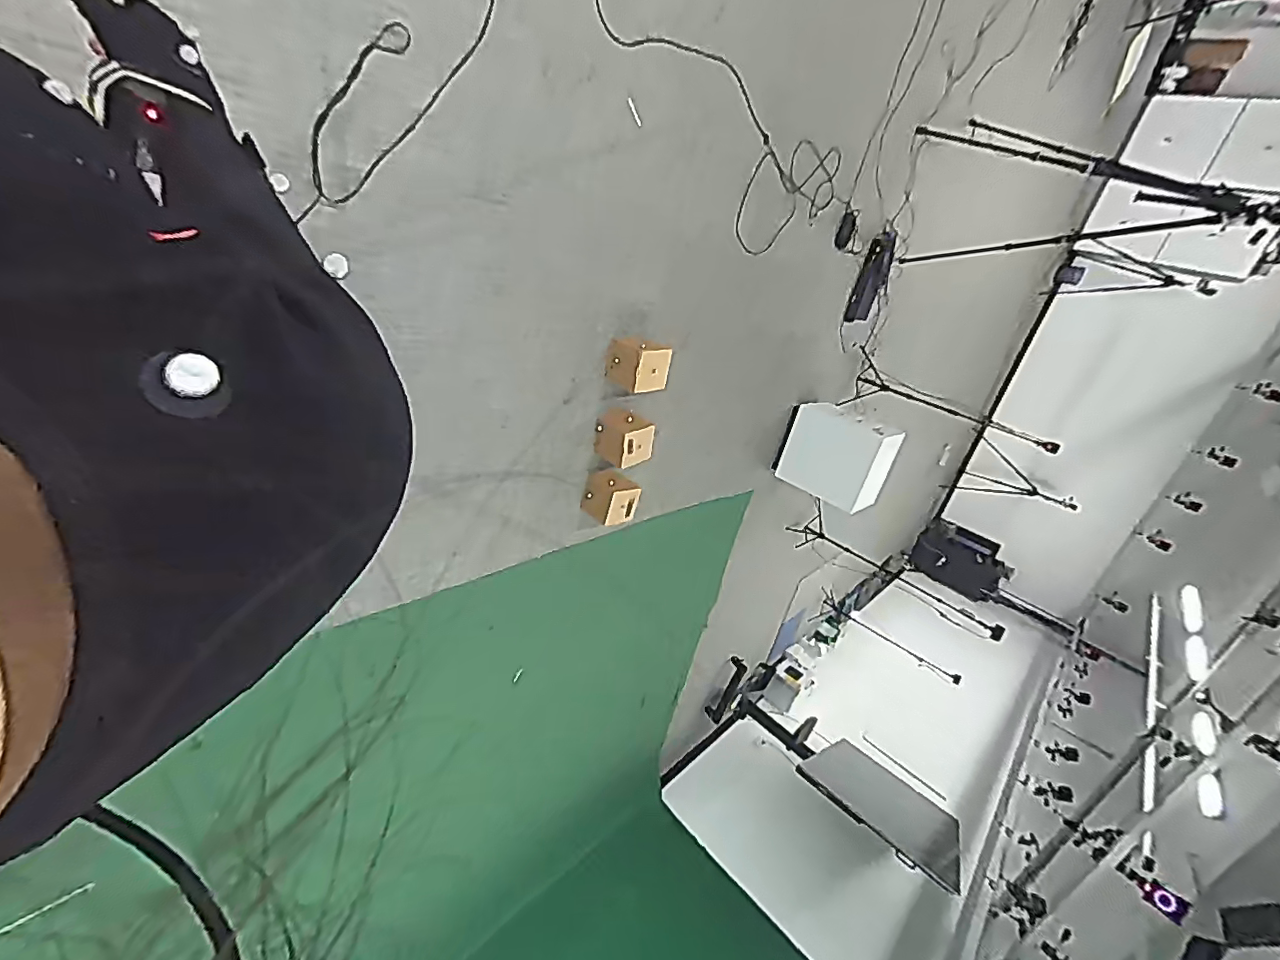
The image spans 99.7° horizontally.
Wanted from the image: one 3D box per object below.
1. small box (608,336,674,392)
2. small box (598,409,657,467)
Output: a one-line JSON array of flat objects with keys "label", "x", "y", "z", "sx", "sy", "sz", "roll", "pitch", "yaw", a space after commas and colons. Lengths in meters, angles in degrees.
[{"label": "small box", "x": 0.001, "y": -0.456, "z": 2.099, "sx": 0.179, "sy": 0.176, "sz": 0.168, "roll": -17, "pitch": 128, "yaw": -42}, {"label": "small box", "x": -0.058, "y": -0.179, "z": 2.242, "sx": 0.179, "sy": 0.176, "sz": 0.168, "roll": -23, "pitch": 133, "yaw": -40}]
